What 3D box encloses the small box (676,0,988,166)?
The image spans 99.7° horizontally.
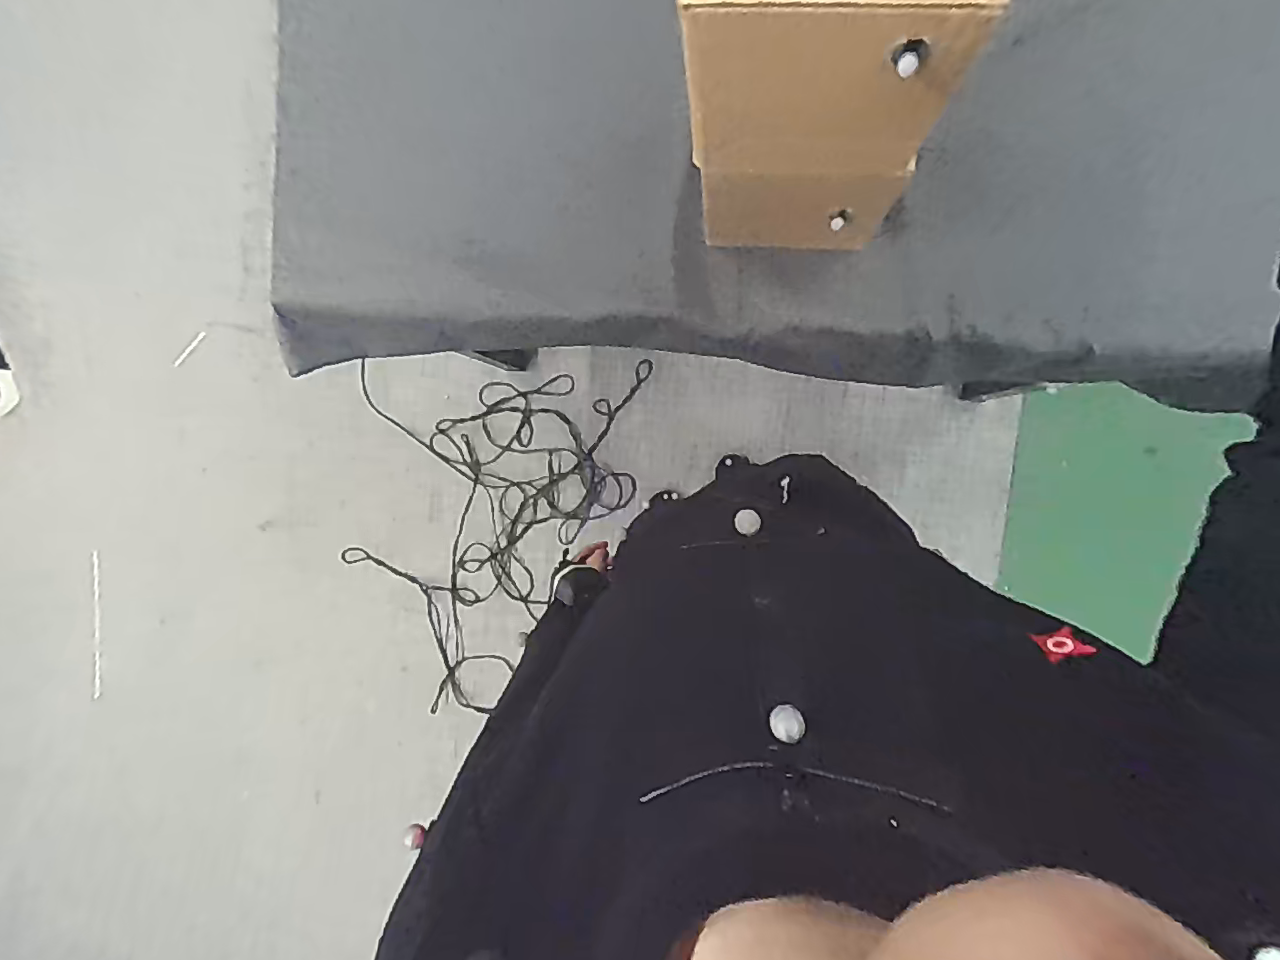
[{"bbox_3d":[0.123,-0.341,0.368,0.179,0.176,0.168,6,92,7],"label":"small box"}]

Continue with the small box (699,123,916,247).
[{"bbox_3d":[0.154,-0.342,0.527,0.179,0.176,0.168,5,92,9],"label":"small box"}]
